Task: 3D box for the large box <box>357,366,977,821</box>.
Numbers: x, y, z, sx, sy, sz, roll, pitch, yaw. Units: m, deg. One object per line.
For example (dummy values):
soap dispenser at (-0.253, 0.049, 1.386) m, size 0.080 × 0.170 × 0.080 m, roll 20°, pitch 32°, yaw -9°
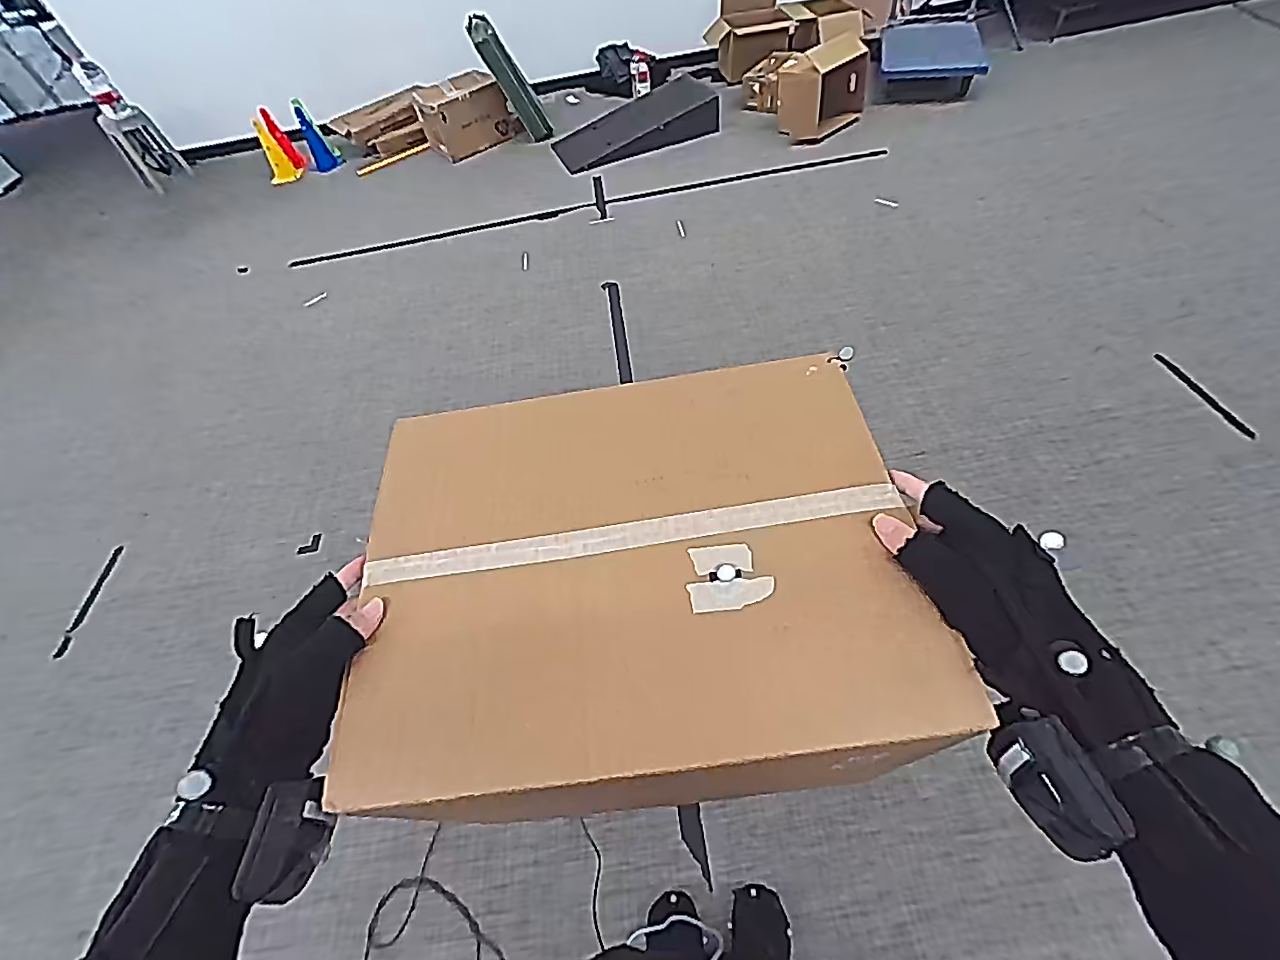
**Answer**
large box at (0.012, 0.131, 0.542) m, size 0.408 × 0.320 × 0.320 m, roll -8°, pitch 56°, yaw 2°
